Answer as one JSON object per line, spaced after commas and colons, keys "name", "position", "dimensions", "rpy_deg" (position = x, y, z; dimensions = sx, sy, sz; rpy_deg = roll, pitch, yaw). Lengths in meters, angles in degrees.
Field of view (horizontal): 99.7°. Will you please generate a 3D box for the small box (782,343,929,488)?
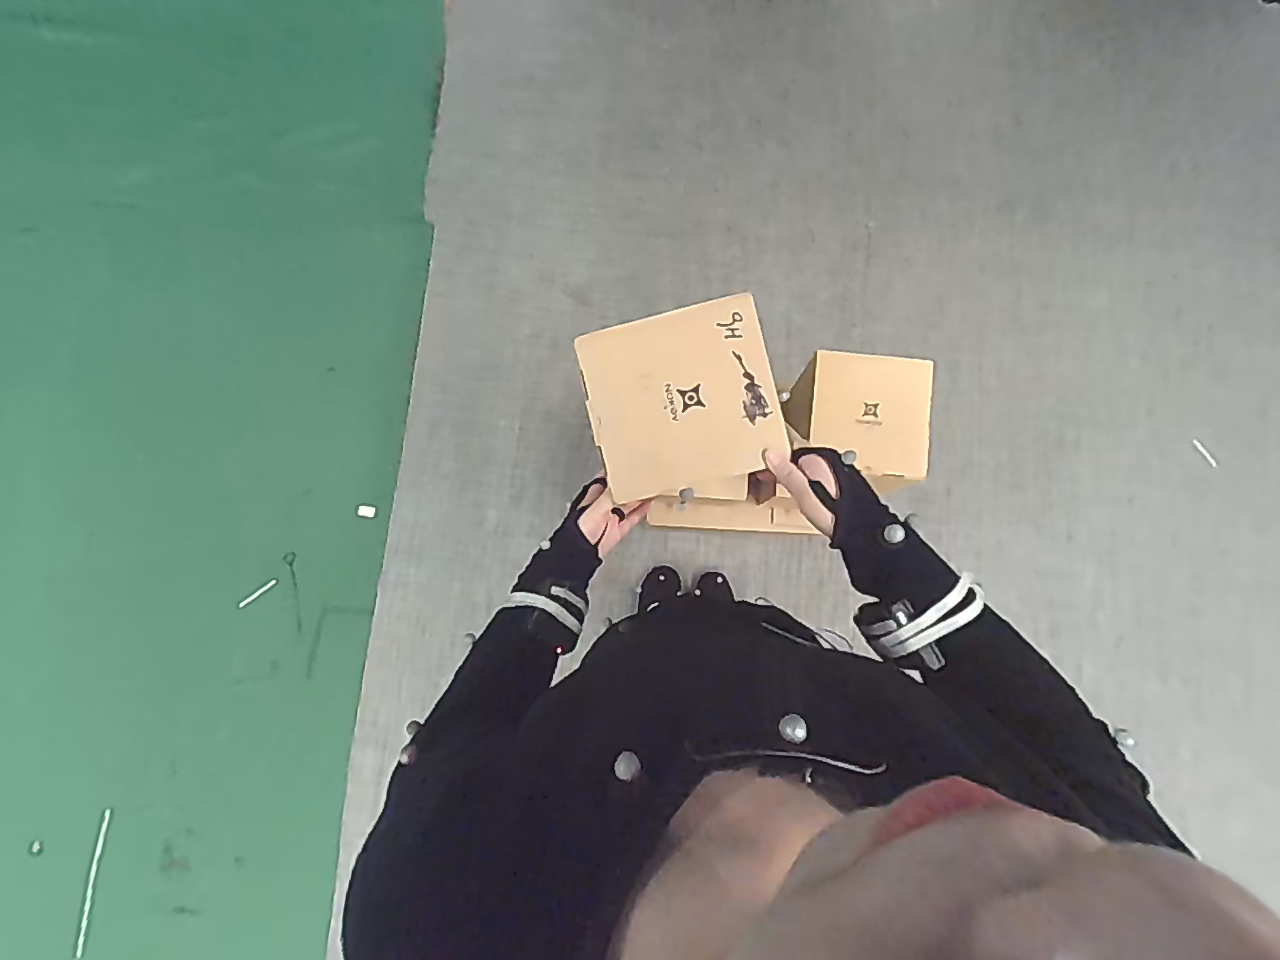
{"name": "small box", "position": [0.327, -0.092, 0.848], "dimensions": [0.168, 0.176, 0.179], "rpy_deg": [7, 82, 4]}
